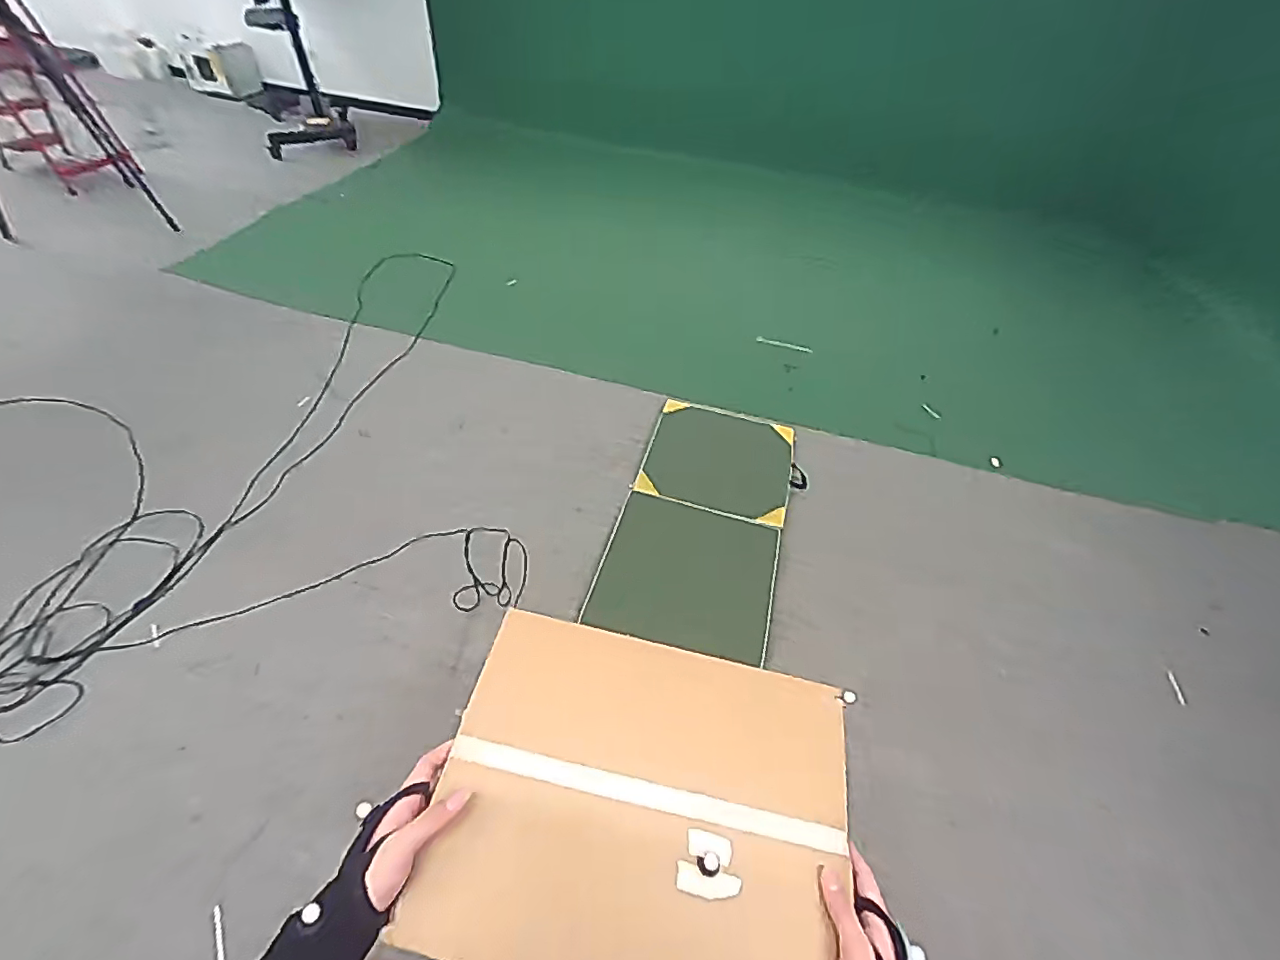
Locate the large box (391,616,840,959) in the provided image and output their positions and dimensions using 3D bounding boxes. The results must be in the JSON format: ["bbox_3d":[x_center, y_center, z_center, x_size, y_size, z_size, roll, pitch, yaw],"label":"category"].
[{"bbox_3d":[-0.015,0.412,0.665,0.408,0.320,0.320,13,50,2],"label":"large box"}]
